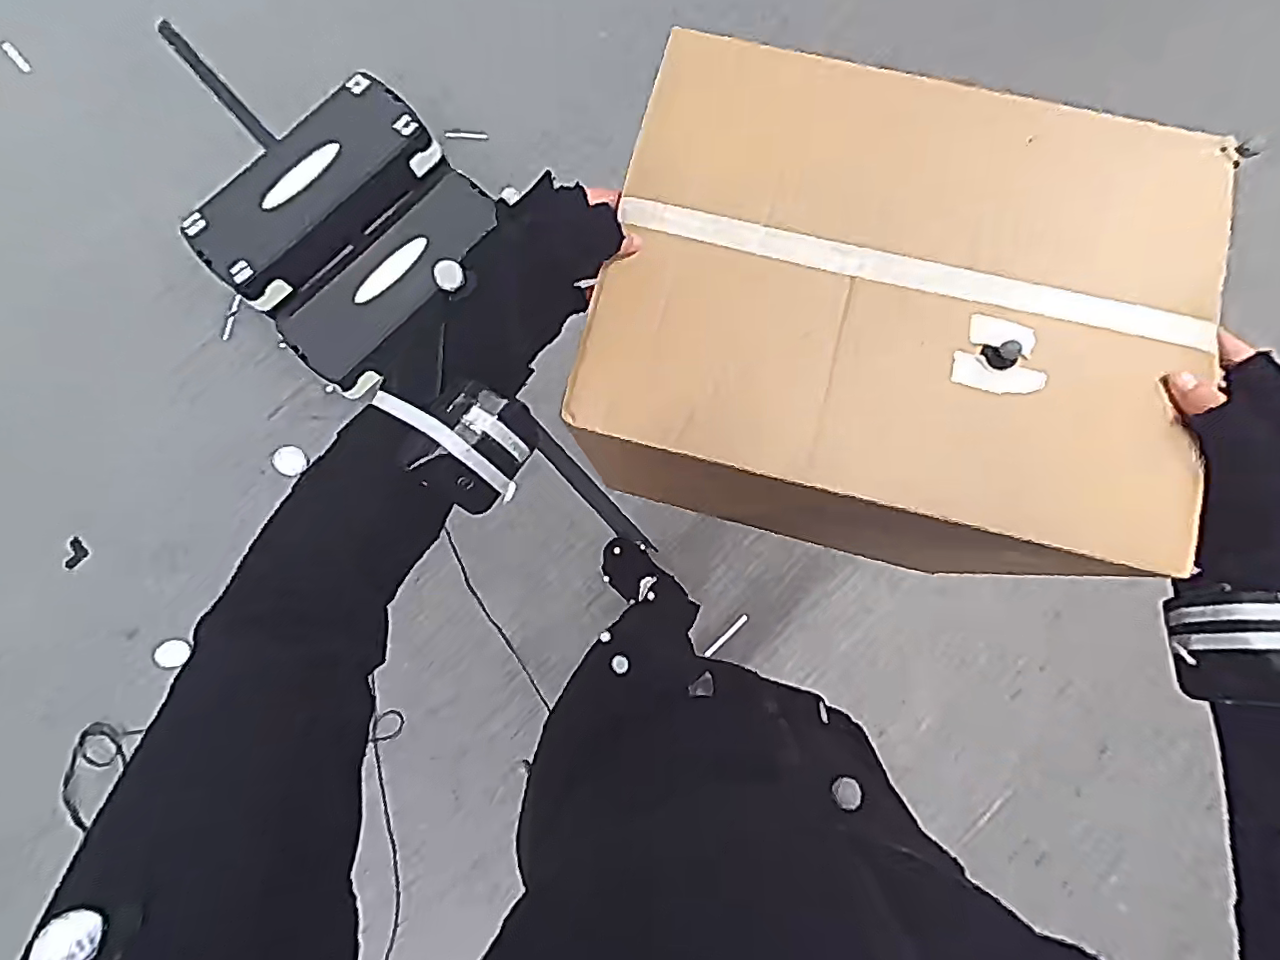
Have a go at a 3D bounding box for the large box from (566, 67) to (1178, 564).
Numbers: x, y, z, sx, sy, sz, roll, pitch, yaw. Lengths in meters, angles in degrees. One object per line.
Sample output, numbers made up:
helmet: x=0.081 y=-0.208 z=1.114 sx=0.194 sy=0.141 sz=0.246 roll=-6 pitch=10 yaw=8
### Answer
large box: x=0.174 y=-0.112 z=0.535 sx=0.408 sy=0.320 sz=0.320 roll=14 pitch=82 yaw=3

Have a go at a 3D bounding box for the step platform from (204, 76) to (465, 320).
step platform: x=-0.838 y=-0.782 z=1.510 sx=0.286 sy=0.204 sz=0.684 roll=43 pitch=84 yaw=10
